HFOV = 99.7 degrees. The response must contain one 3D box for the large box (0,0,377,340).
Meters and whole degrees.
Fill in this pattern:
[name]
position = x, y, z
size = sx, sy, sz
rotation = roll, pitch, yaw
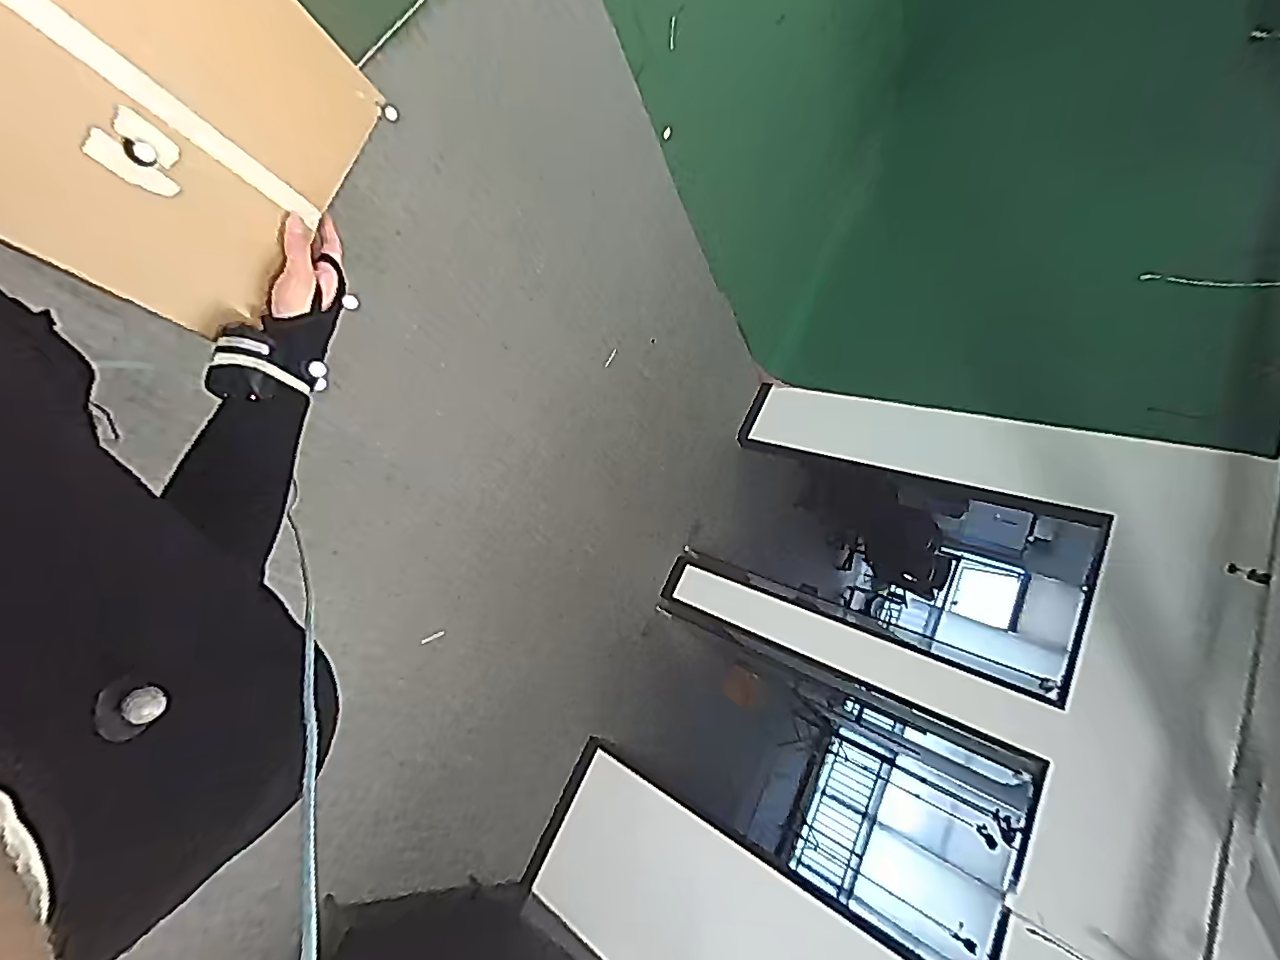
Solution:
[large box]
position = -0.552, -0.381, 0.478
size = 0.320, 0.320, 0.408
rotation = -64, 150, -5
